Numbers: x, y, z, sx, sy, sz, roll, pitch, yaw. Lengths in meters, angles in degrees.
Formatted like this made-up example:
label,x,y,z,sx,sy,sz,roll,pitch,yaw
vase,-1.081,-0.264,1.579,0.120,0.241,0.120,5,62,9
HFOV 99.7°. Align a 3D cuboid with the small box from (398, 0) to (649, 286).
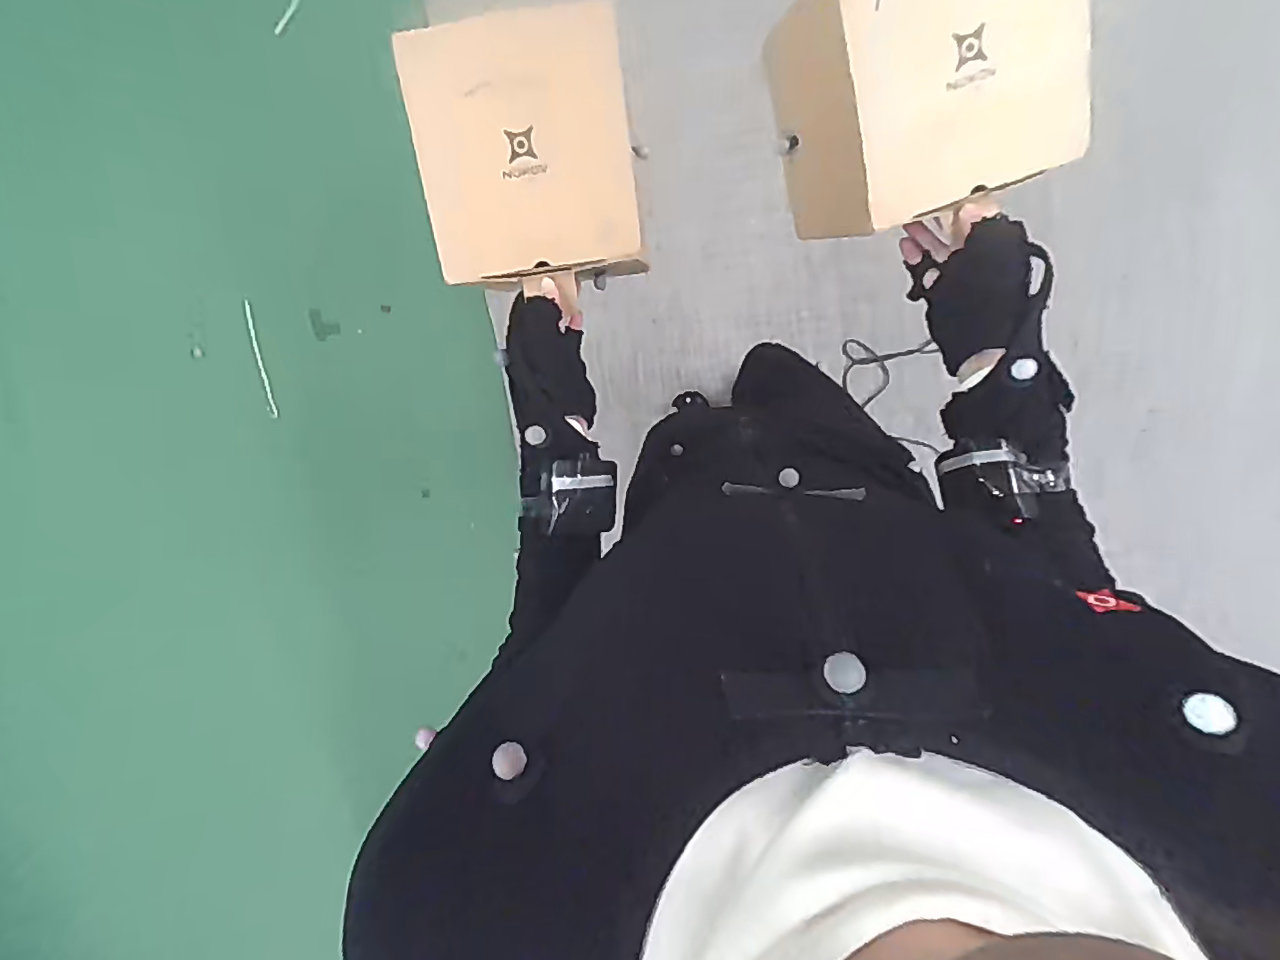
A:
label,x,y,z,sx,sy,sz,roll,pitch,yaw
small box,-0.085,-0.280,0.499,0.168,0.176,0.179,-7,106,6
